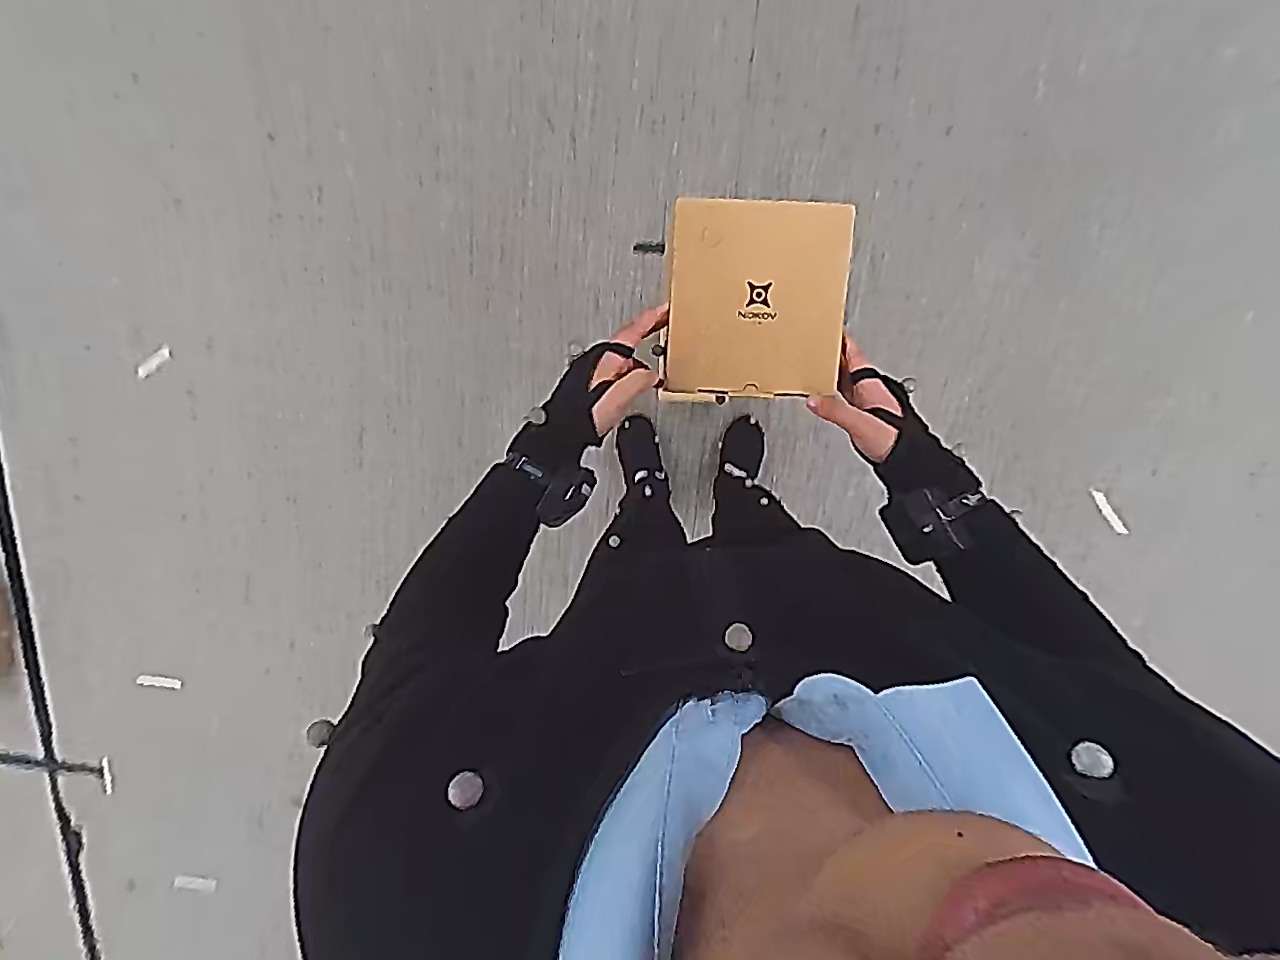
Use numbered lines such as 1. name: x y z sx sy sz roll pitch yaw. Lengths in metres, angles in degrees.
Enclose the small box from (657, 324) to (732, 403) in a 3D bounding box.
1. small box: 0.130 -0.285 1.317 0.168 0.176 0.179 2 103 3
